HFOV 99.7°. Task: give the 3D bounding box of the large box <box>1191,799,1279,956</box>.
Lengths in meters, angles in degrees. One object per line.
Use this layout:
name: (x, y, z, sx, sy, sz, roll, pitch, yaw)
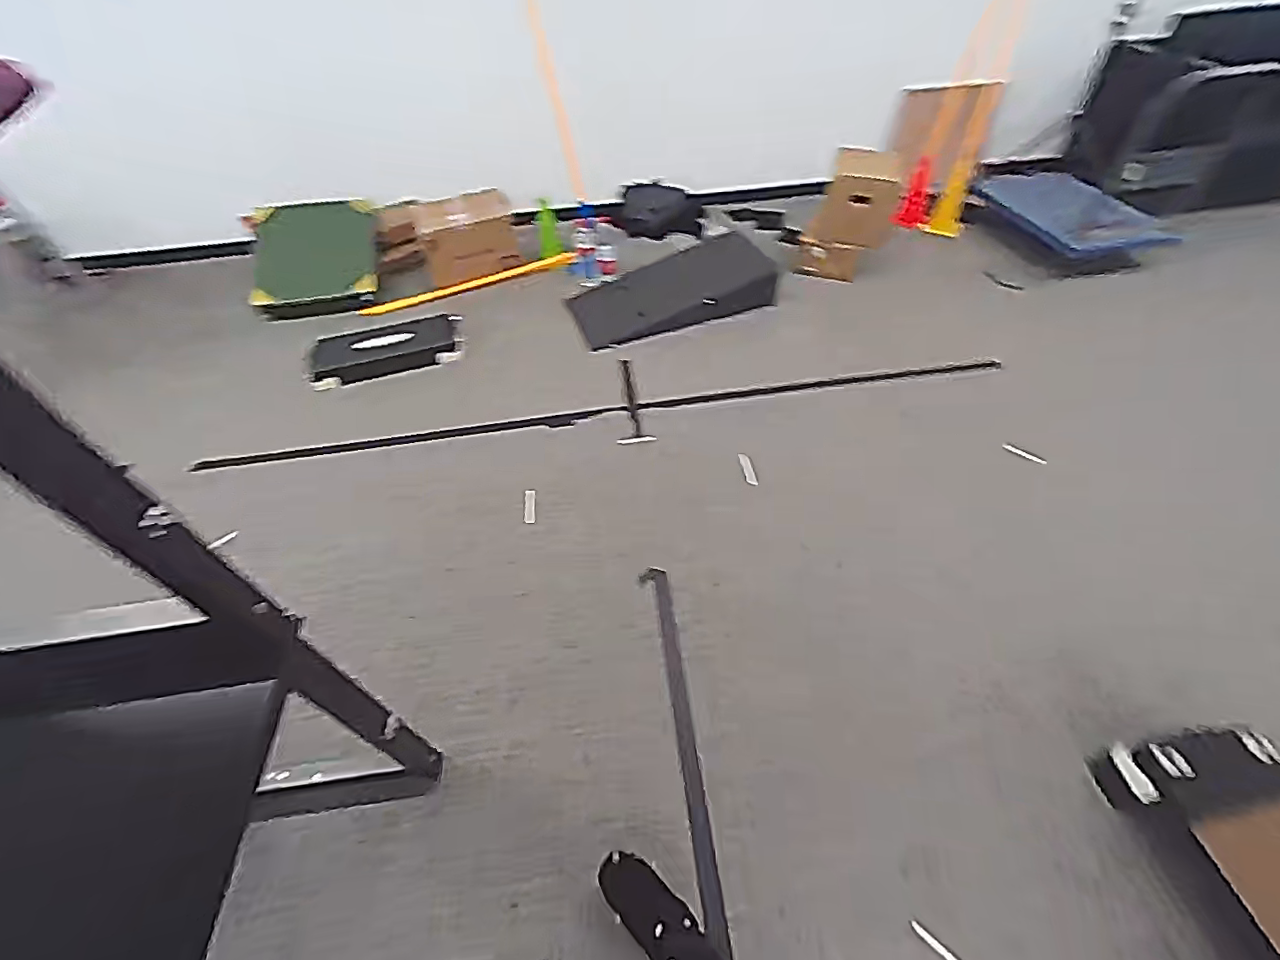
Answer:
large box: (1.238, 0.703, 0.823, 0.320, 0.320, 0.408, -8, 47, -4)
